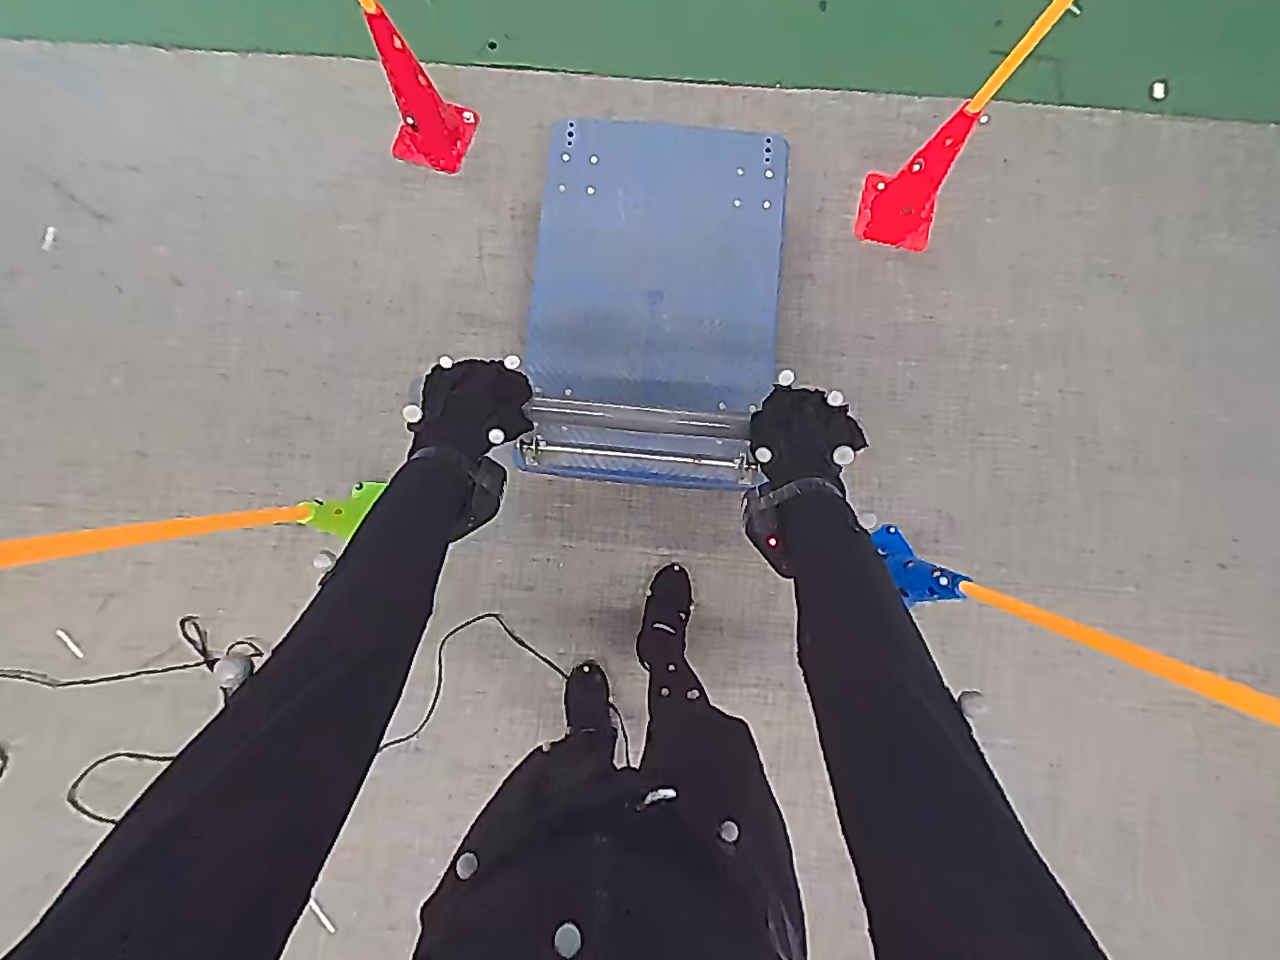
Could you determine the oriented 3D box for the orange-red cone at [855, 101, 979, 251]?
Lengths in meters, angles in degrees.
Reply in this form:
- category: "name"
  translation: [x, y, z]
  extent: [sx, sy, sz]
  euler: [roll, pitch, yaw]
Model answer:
- category: "orange-red cone"
  translation: [0.696, -0.752, 1.304]
  extent: [0.198, 0.360, 0.199]
  euler: [16, 84, 3]
